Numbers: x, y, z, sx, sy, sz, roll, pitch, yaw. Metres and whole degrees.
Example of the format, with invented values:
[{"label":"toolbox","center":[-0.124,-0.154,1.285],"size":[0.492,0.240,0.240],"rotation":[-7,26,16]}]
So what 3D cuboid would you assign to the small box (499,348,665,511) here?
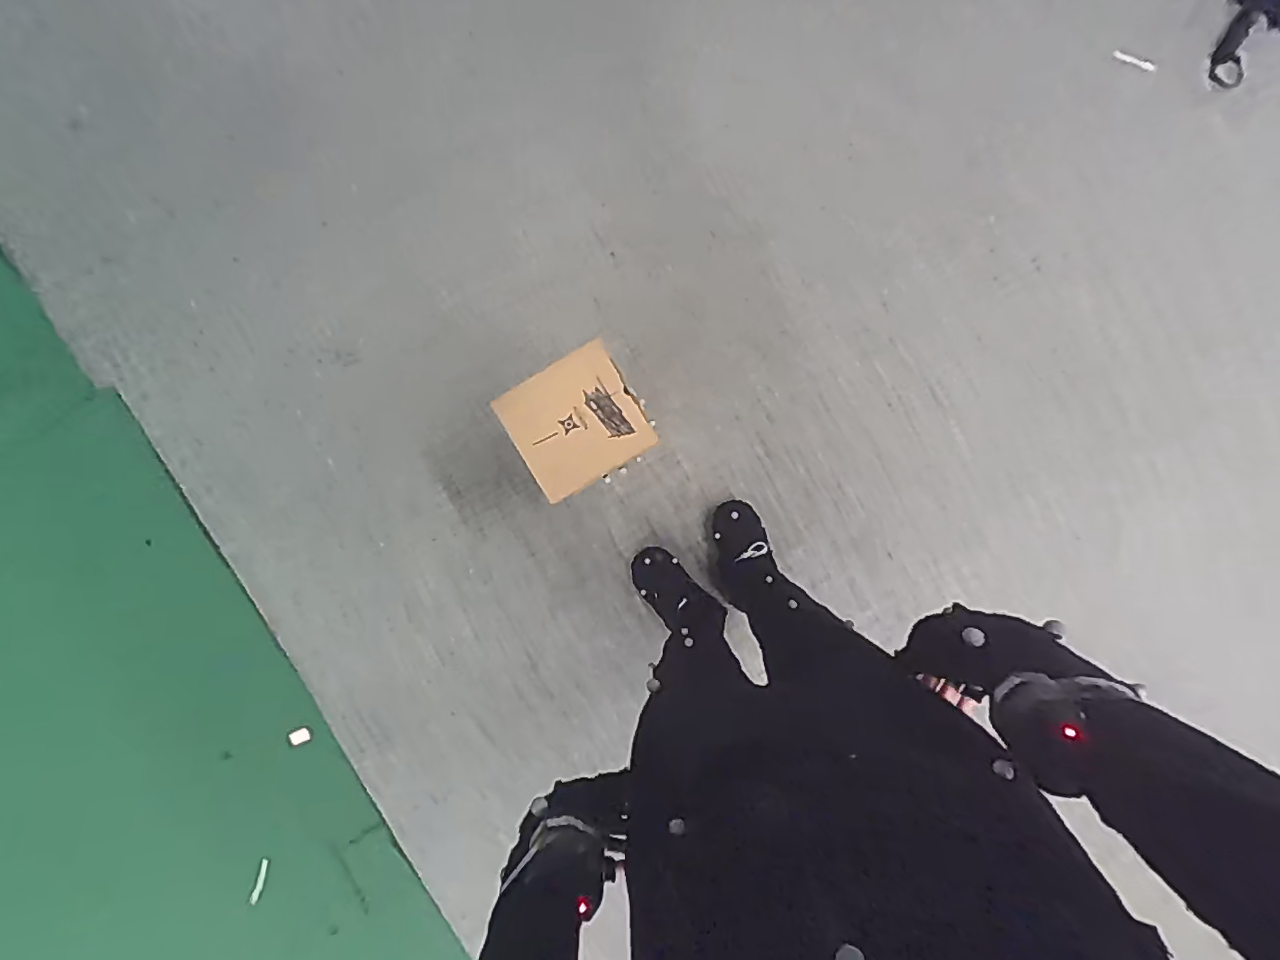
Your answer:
[{"label":"small box","center":[-0.082,-0.074,0.821],"size":[0.179,0.176,0.168],"rotation":[-34,93,1]}]
